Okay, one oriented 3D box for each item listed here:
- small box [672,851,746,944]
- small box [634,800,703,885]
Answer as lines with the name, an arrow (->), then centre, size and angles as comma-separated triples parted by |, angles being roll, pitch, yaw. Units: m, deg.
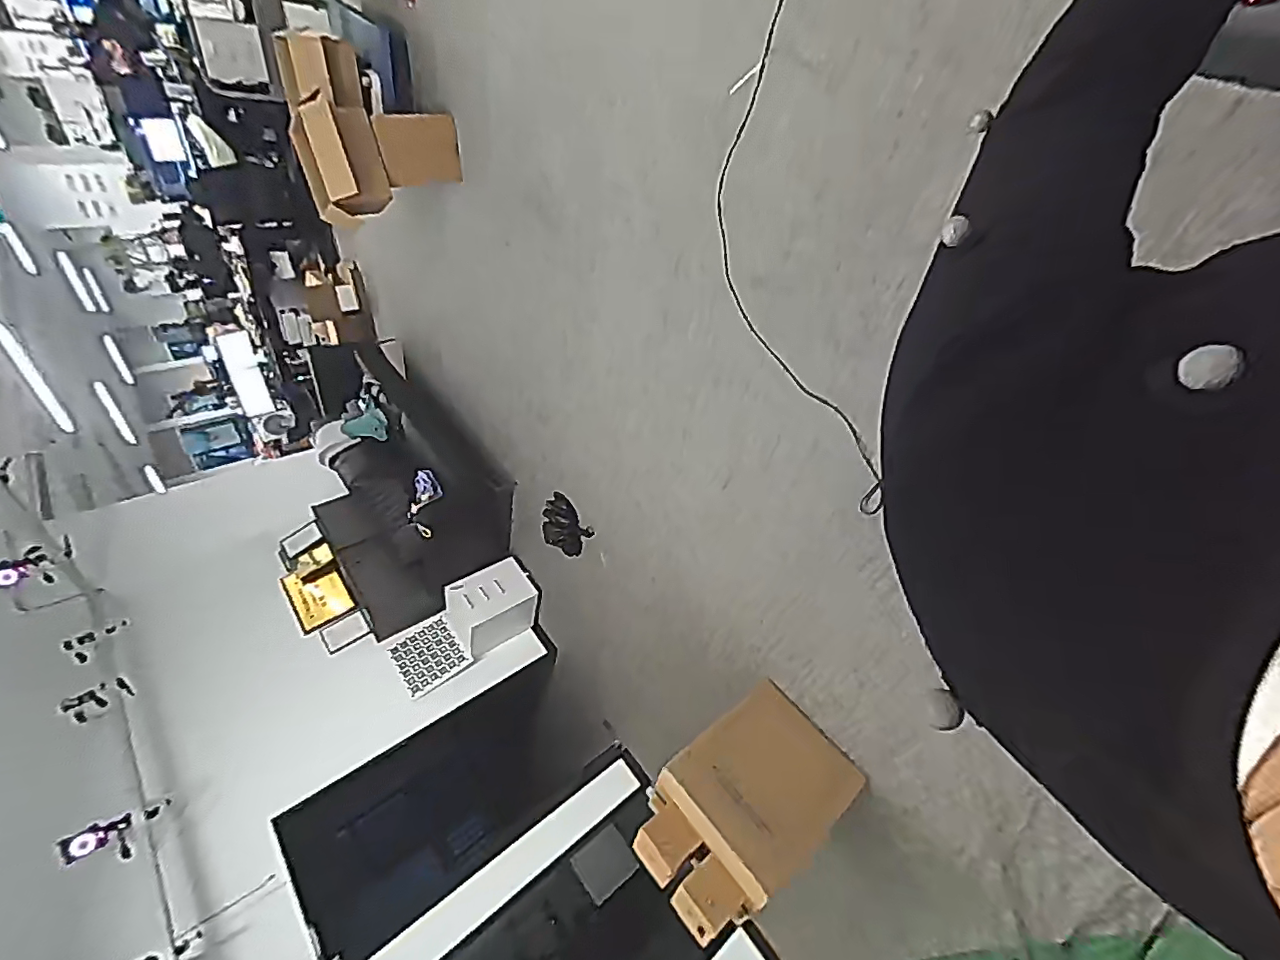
small box -> 0.245, 1.470, 1.910 | 0.179, 0.176, 0.168 | 41, 133, 33
small box -> 0.108, 1.353, 2.026 | 0.179, 0.176, 0.168 | 40, 132, 35
